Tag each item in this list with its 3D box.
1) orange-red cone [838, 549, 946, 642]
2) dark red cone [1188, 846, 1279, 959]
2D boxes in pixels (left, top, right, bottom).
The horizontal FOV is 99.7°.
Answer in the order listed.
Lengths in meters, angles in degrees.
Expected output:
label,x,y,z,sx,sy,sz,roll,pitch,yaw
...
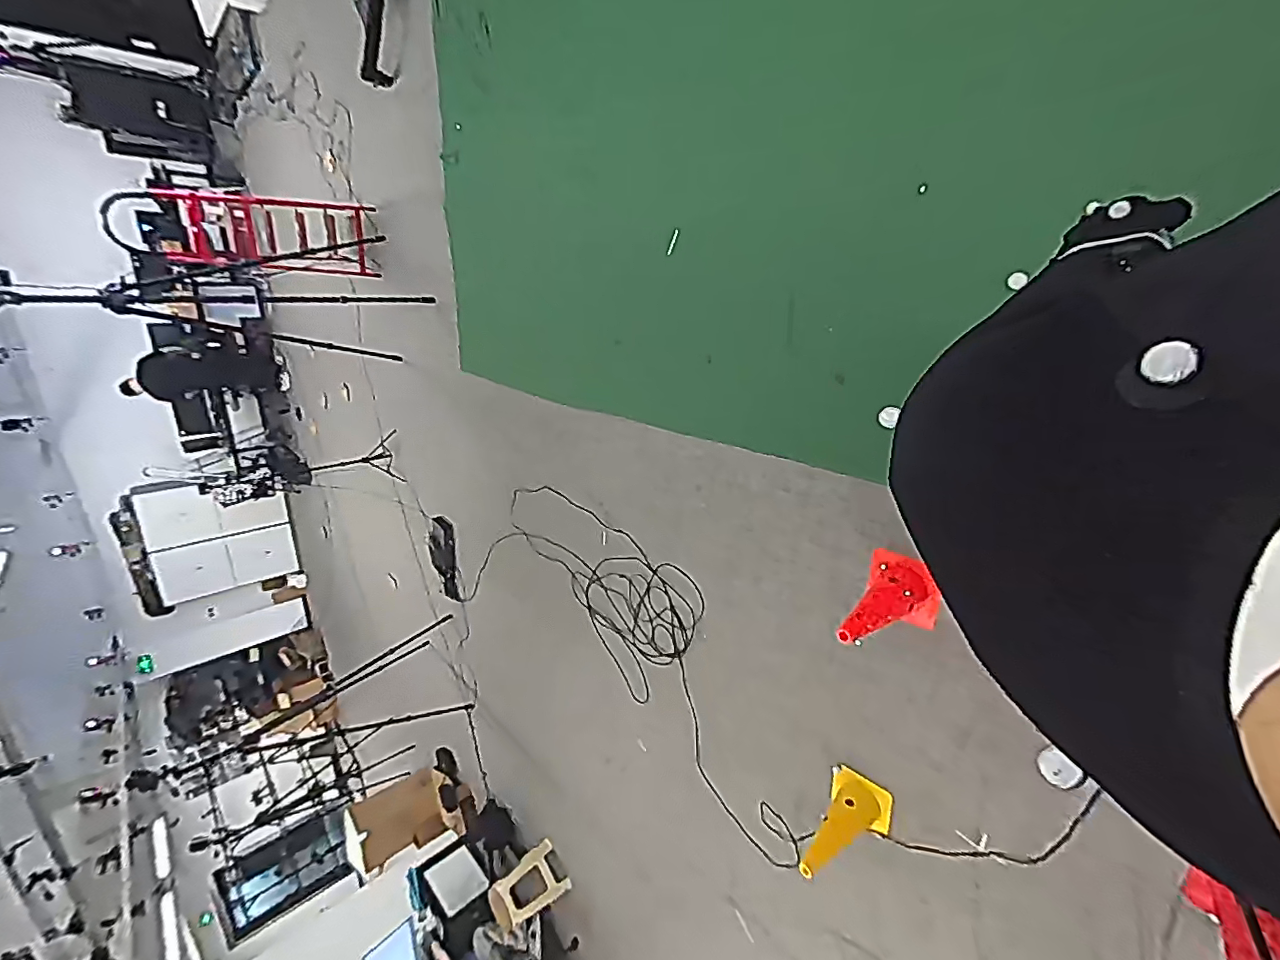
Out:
label,x,y,z,sx,sy,sz,roll,pitch,yaw
orange-red cone,0.640,0.350,1.454,0.198,0.360,0.199,21,118,44
dark red cone,1.168,0.919,1.012,0.202,0.394,0.201,13,110,46
